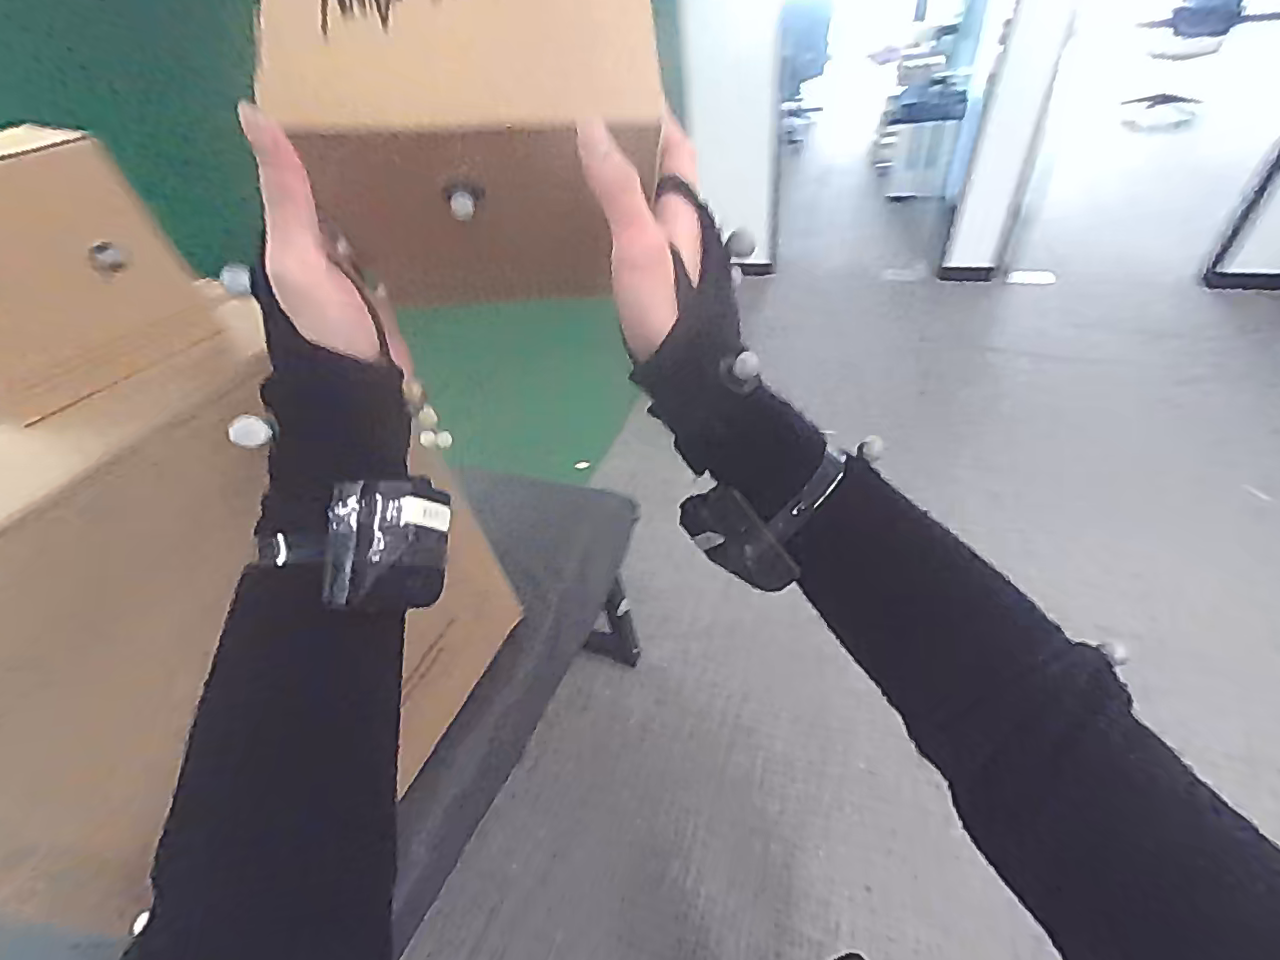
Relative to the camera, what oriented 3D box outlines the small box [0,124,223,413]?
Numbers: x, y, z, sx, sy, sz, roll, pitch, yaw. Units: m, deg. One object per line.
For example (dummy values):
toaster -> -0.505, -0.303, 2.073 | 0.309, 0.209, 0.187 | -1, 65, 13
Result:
small box -> -0.520, -0.190, 0.476 | 0.168, 0.176, 0.179 | 23, 54, 28
